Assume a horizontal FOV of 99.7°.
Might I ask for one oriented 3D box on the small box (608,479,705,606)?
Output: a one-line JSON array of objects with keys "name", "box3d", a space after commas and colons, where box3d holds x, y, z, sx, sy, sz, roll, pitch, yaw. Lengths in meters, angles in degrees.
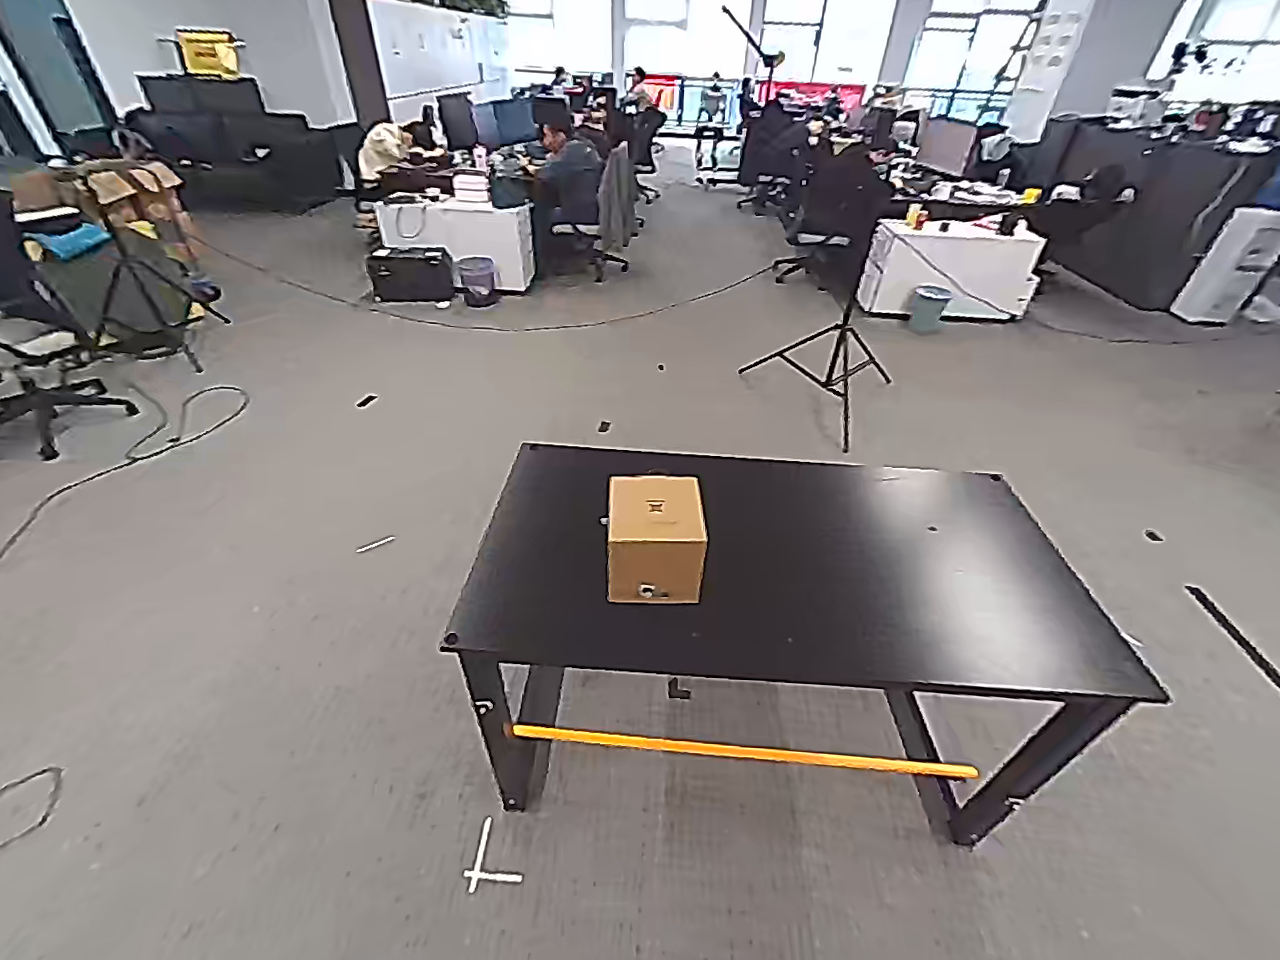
[{"name": "small box", "box3d": [0.023, 0.115, 1.016, 0.168, 0.176, 0.179, -1, 39, -2]}]
